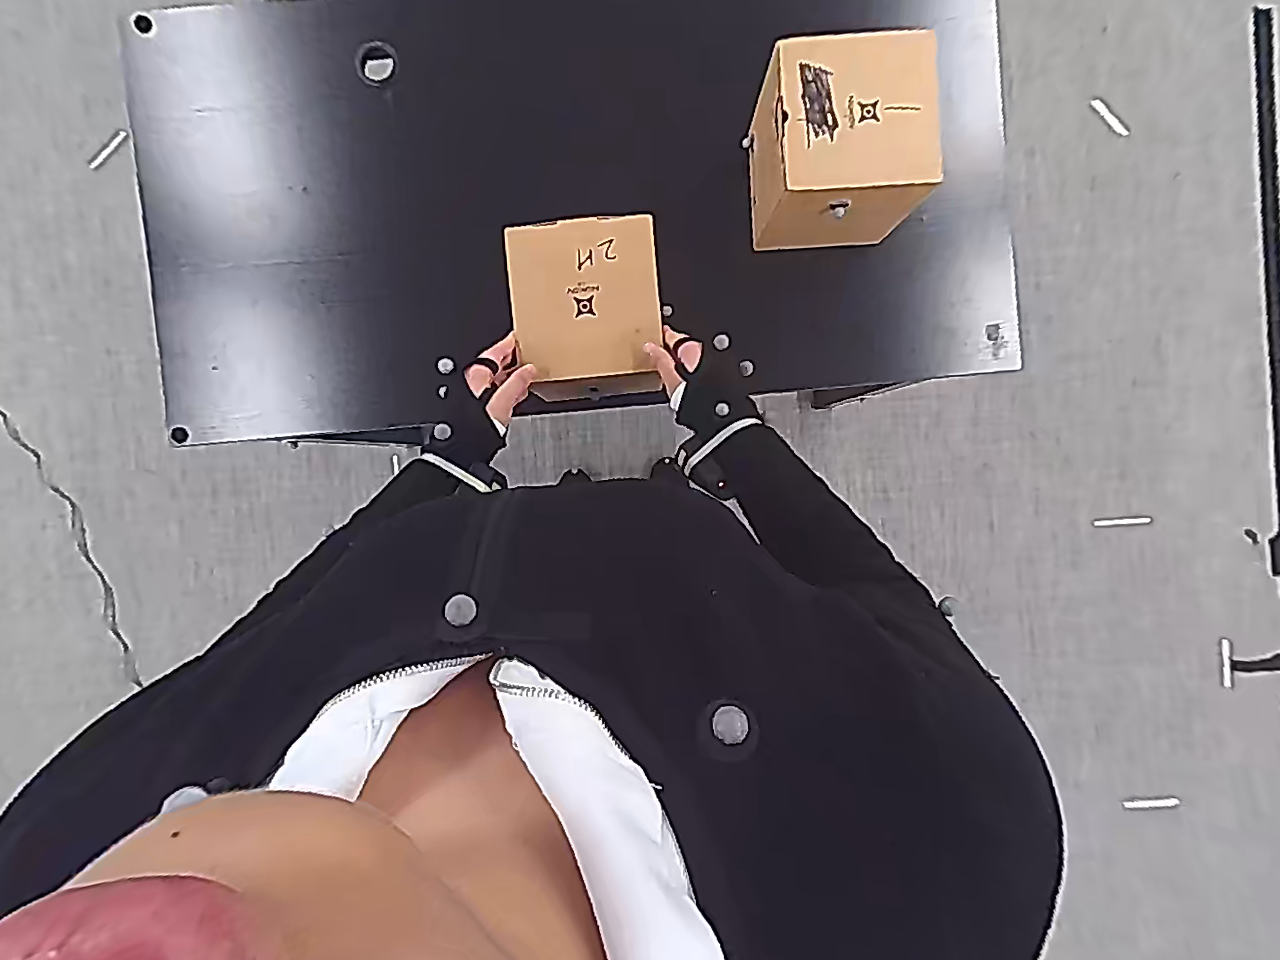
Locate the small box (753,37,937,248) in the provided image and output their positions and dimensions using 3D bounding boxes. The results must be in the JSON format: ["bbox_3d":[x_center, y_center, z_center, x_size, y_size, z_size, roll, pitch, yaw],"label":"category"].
[{"bbox_3d":[0.241,-0.406,0.680,0.179,0.176,0.168,-3,92,0],"label":"small box"}]

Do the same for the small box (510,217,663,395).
[{"bbox_3d":[-0.058,-0.205,0.689,0.168,0.176,0.179,-5,91,0],"label":"small box"}]
